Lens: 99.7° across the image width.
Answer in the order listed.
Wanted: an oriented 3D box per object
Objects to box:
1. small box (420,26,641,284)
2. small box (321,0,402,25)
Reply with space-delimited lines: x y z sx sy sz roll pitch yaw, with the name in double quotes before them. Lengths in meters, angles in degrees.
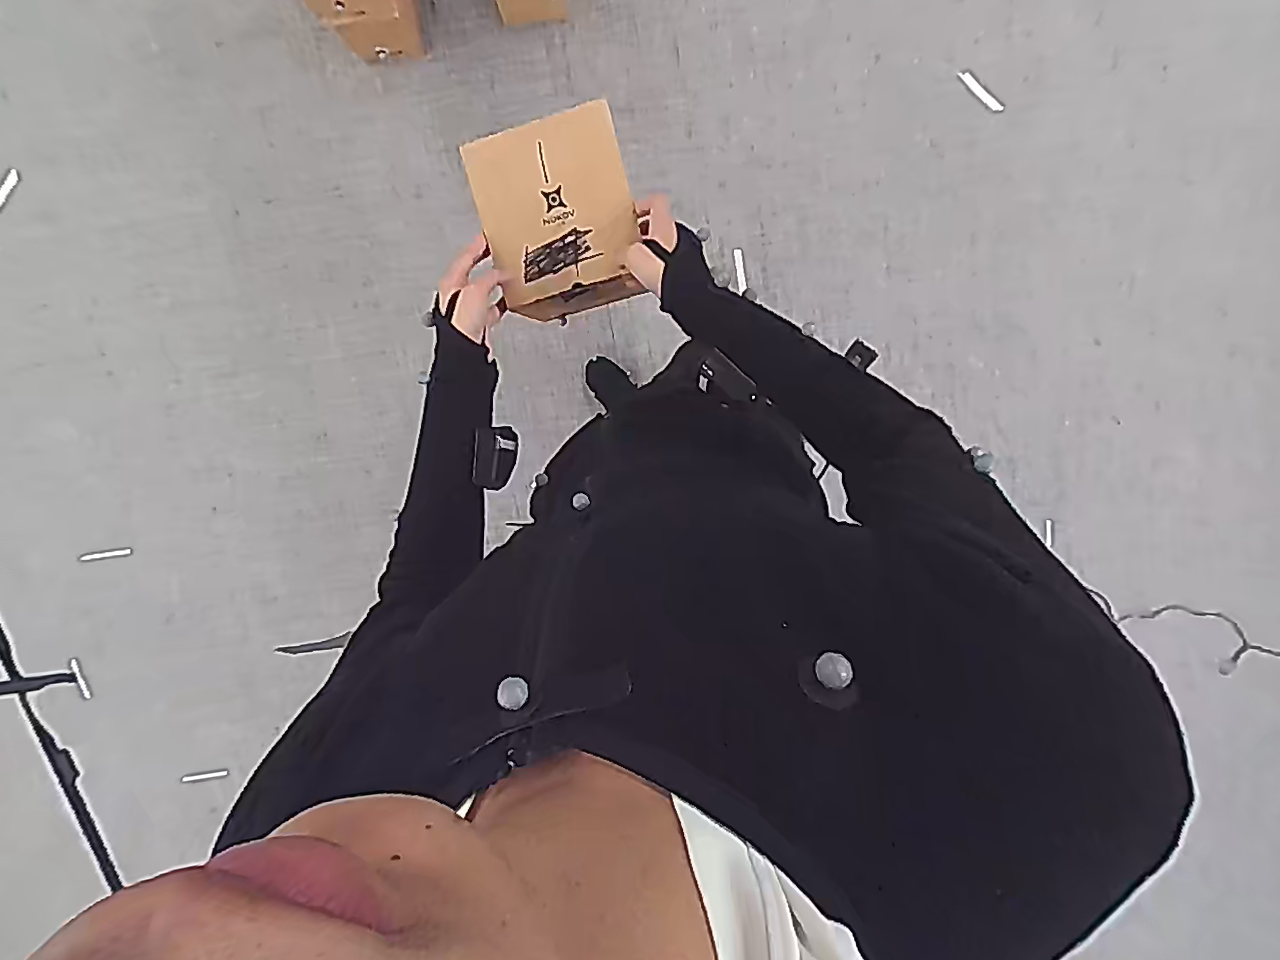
"small box" -0.099 -0.322 0.584 0.168 0.176 0.179 -15 101 6
"small box" -0.656 -1.171 1.207 0.168 0.176 0.179 -7 103 0
